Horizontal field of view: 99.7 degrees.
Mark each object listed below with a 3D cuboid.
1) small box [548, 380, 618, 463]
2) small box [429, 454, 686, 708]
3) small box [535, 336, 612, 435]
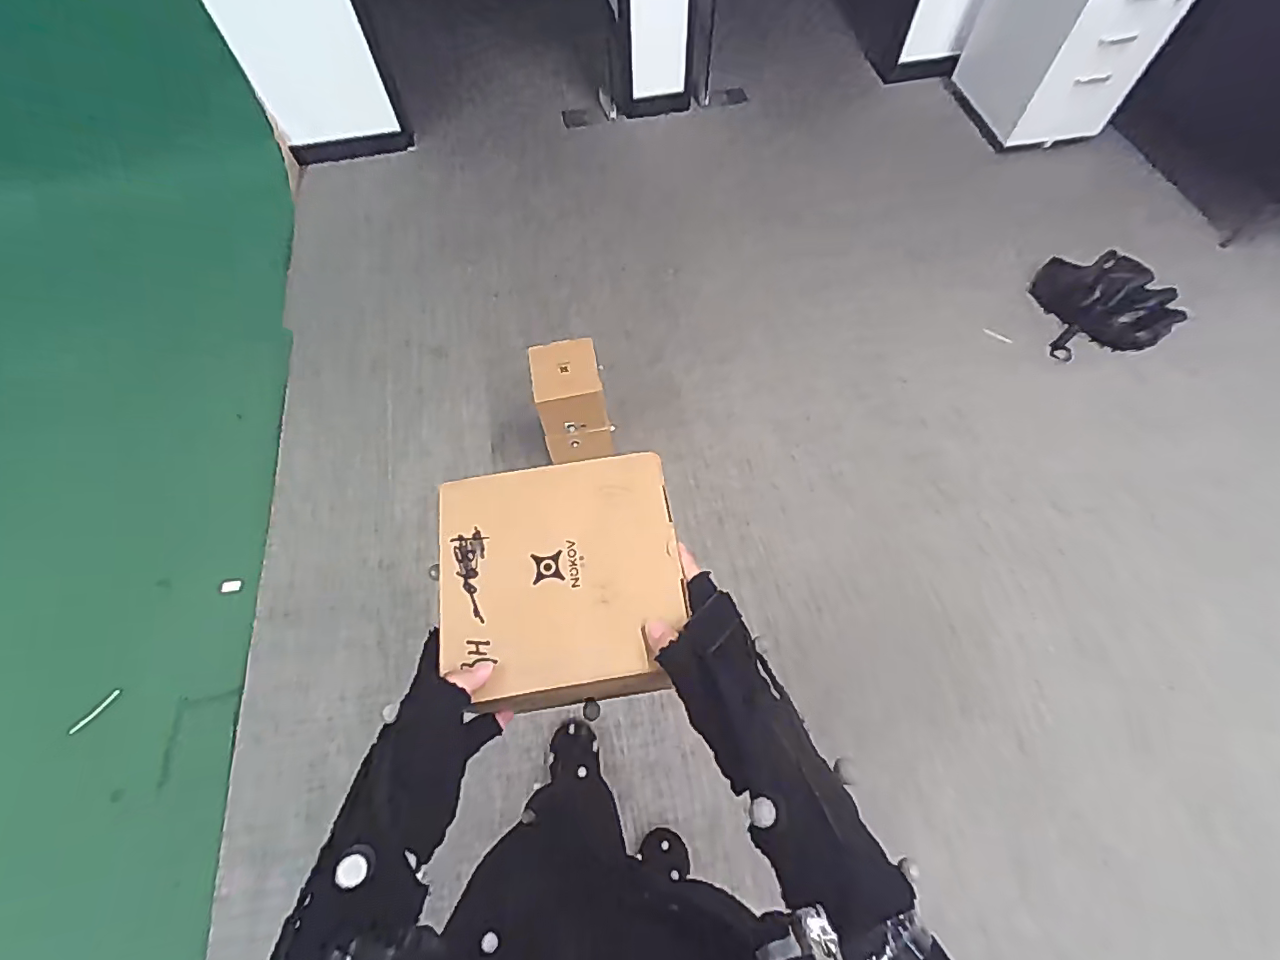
[{"bbox_3d":[-0.162,-0.161,1.545,0.179,0.176,0.168,-9,63,-3],"label":"small box"},{"bbox_3d":[-0.064,0.096,0.468,0.179,0.176,0.168,-8,64,-3],"label":"small box"},{"bbox_3d":[-0.170,-0.242,1.404,0.168,0.176,0.179,-11,64,-2],"label":"small box"}]
